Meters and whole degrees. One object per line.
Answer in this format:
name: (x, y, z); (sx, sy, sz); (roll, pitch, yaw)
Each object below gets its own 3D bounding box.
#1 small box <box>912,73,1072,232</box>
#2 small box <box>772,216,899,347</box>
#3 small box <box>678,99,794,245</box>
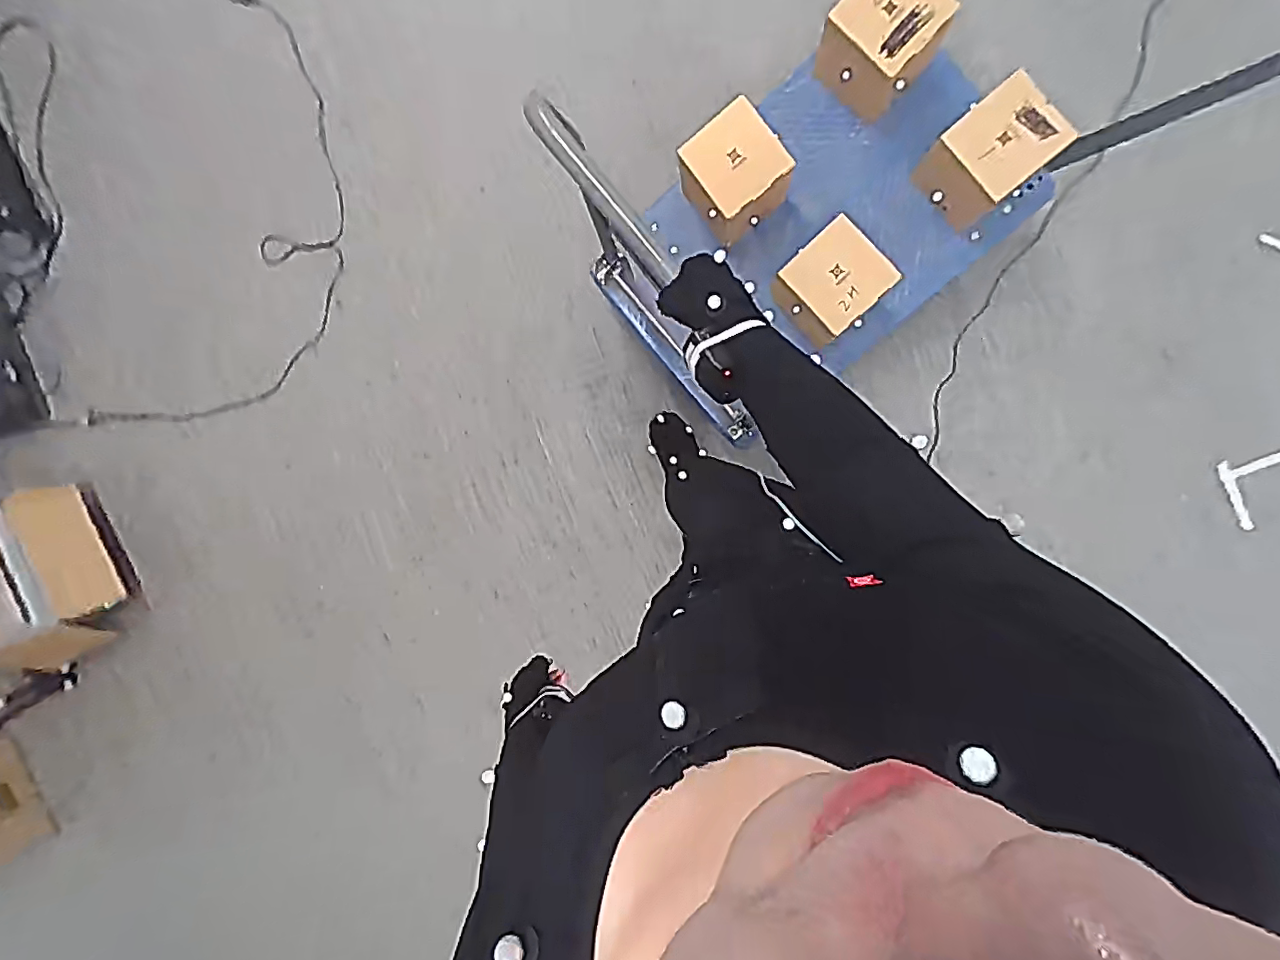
small box: (0.687, -0.639, 1.080); (0.179, 0.176, 0.168); (-40, 89, 10)
small box: (0.398, -0.405, 1.140); (0.168, 0.176, 0.179); (-43, 88, 9)
small box: (0.196, -0.639, 1.148); (0.168, 0.176, 0.179); (-38, 91, 9)
